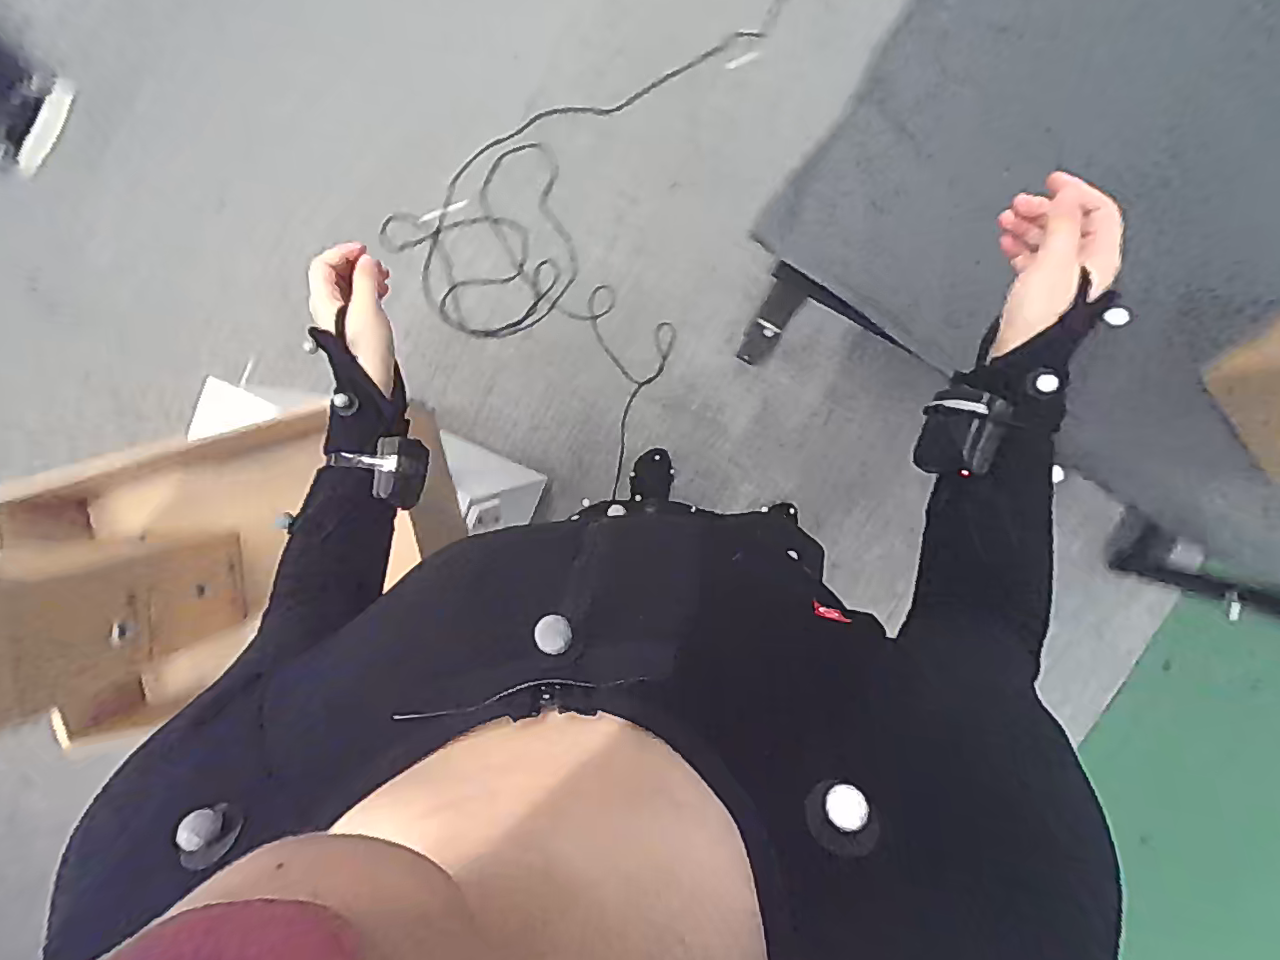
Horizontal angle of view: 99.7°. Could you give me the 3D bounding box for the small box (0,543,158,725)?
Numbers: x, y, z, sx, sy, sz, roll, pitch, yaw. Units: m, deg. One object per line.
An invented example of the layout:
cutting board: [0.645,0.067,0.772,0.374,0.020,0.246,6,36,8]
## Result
small box: [-0.759,0.178,0.670,0.179,0.176,0.168,1,97,2]
